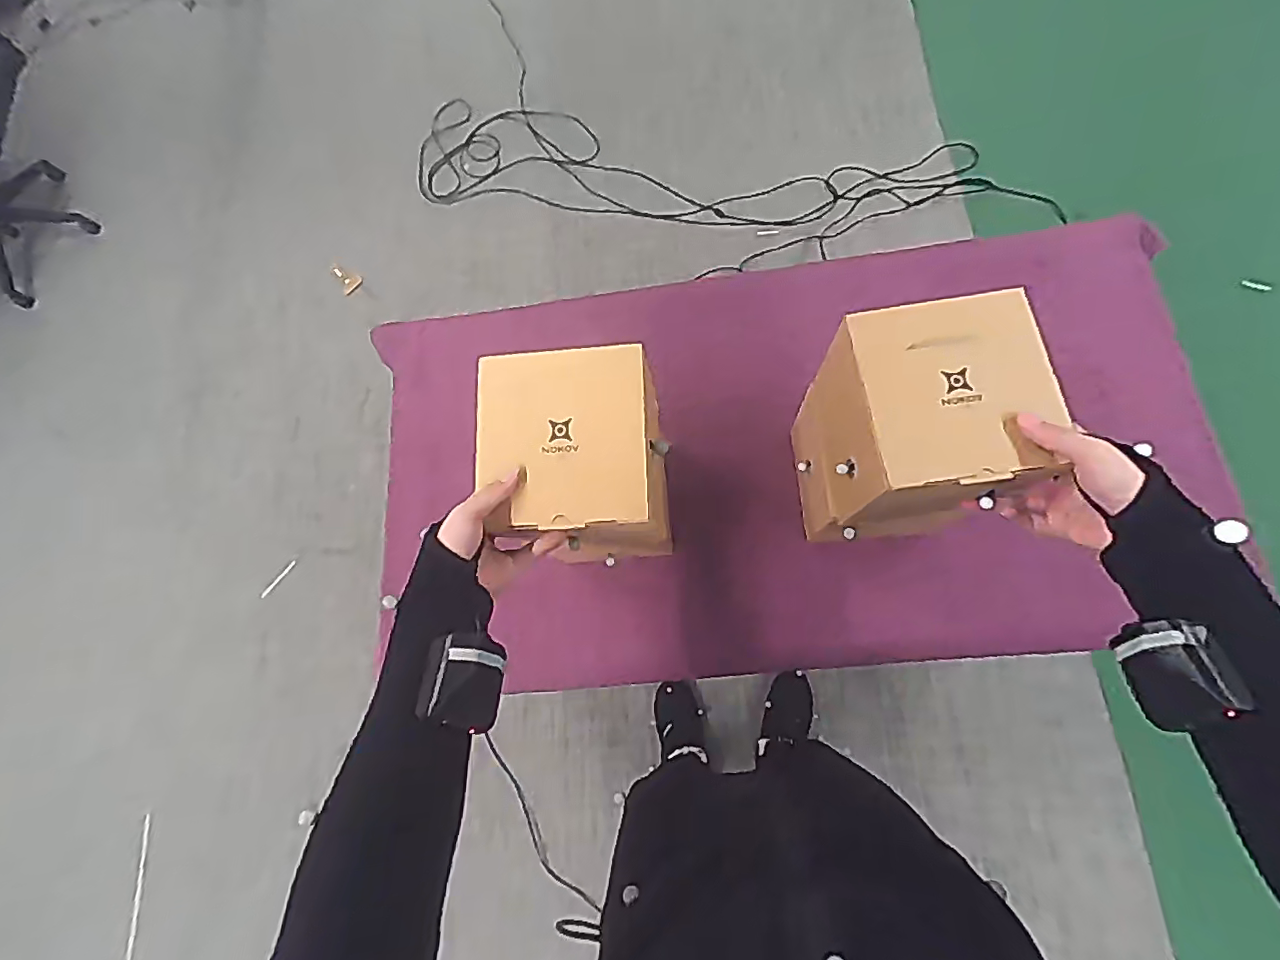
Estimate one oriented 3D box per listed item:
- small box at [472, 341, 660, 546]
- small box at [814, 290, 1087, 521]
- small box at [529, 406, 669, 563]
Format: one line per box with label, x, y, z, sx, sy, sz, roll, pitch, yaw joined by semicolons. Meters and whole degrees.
small box;-0.067;-0.028;0.581;0.168;0.176;0.179;-3;77;5
small box;0.288;-0.059;0.548;0.168;0.176;0.179;-7;73;3
small box;-0.050;0.012;0.741;0.168;0.176;0.179;-5;74;6
